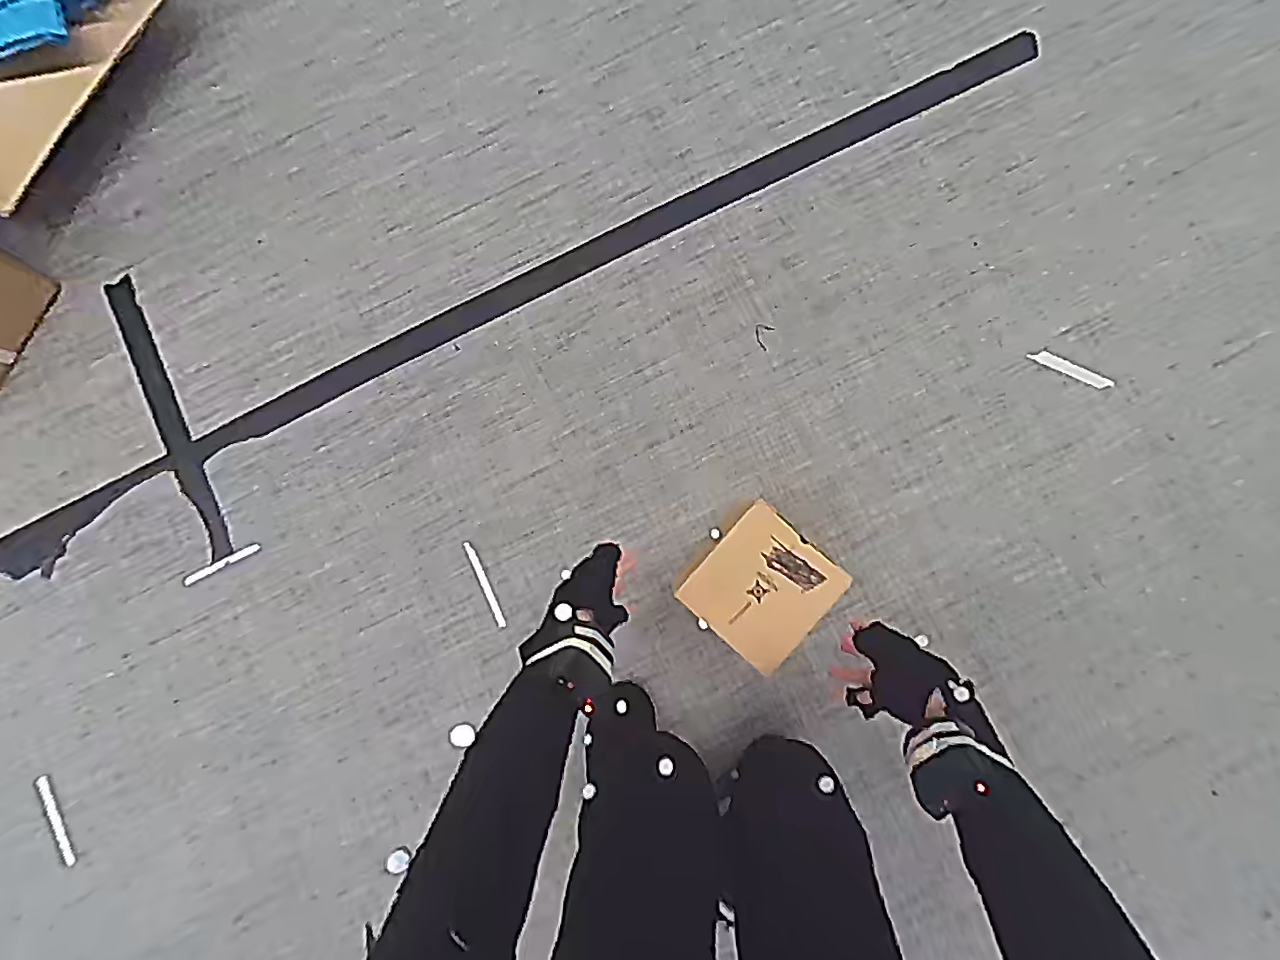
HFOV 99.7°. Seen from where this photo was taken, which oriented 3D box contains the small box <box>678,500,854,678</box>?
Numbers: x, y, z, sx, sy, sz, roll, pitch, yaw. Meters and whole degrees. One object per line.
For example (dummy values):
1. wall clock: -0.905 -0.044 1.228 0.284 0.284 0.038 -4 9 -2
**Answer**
1. small box: 0.166 0.146 0.785 0.168 0.176 0.179 42 89 5
